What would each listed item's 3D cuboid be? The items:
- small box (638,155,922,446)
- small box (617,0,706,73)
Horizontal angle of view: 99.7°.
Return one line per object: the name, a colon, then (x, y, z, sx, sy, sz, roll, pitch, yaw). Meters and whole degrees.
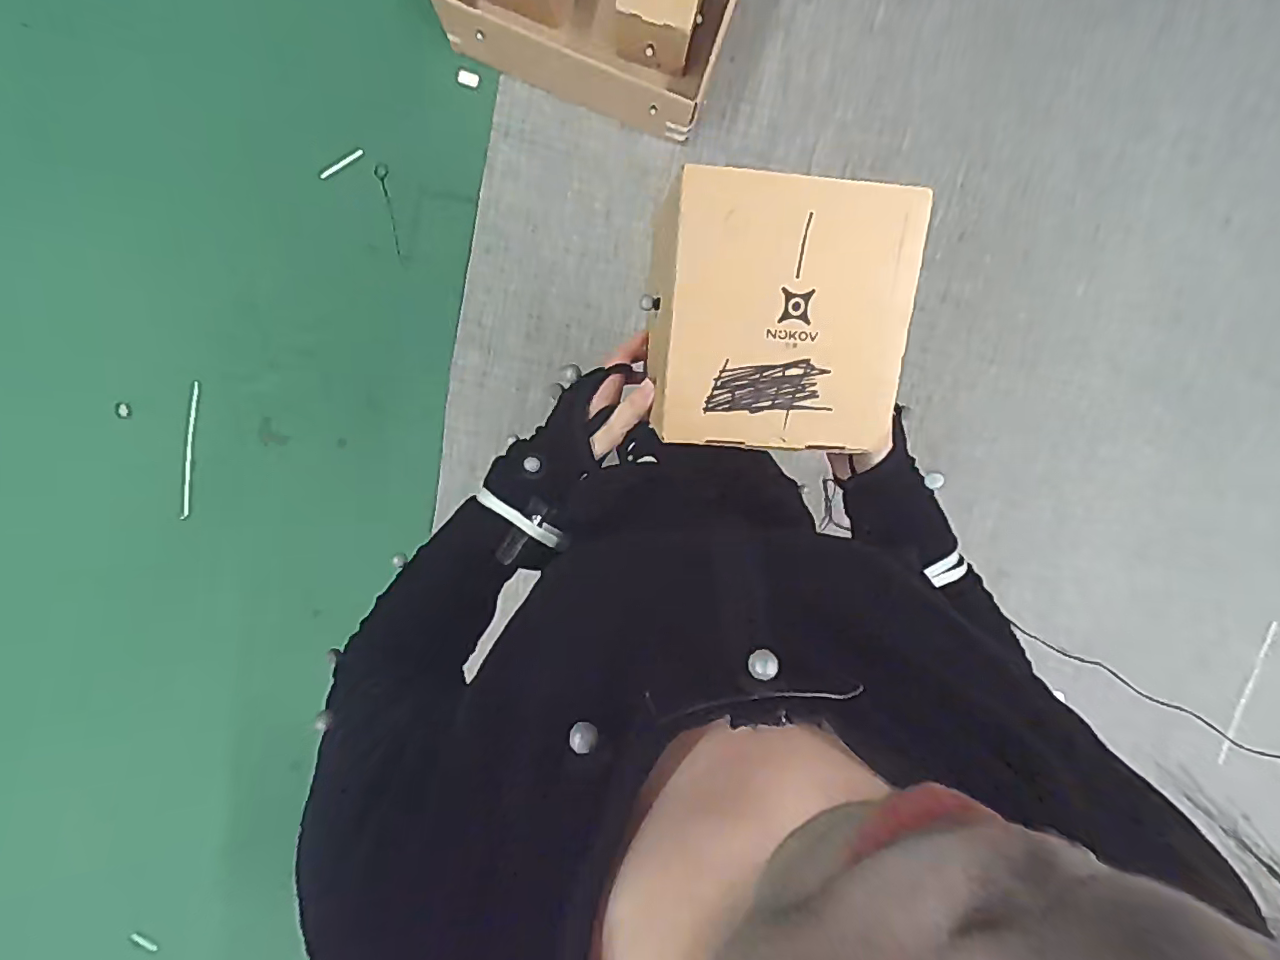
small box: (0.089, -0.133, 0.437, 0.168, 0.176, 0.179, 3, 104, -5)
small box: (0.054, -1.043, 1.182, 0.168, 0.176, 0.179, 15, 100, -4)
